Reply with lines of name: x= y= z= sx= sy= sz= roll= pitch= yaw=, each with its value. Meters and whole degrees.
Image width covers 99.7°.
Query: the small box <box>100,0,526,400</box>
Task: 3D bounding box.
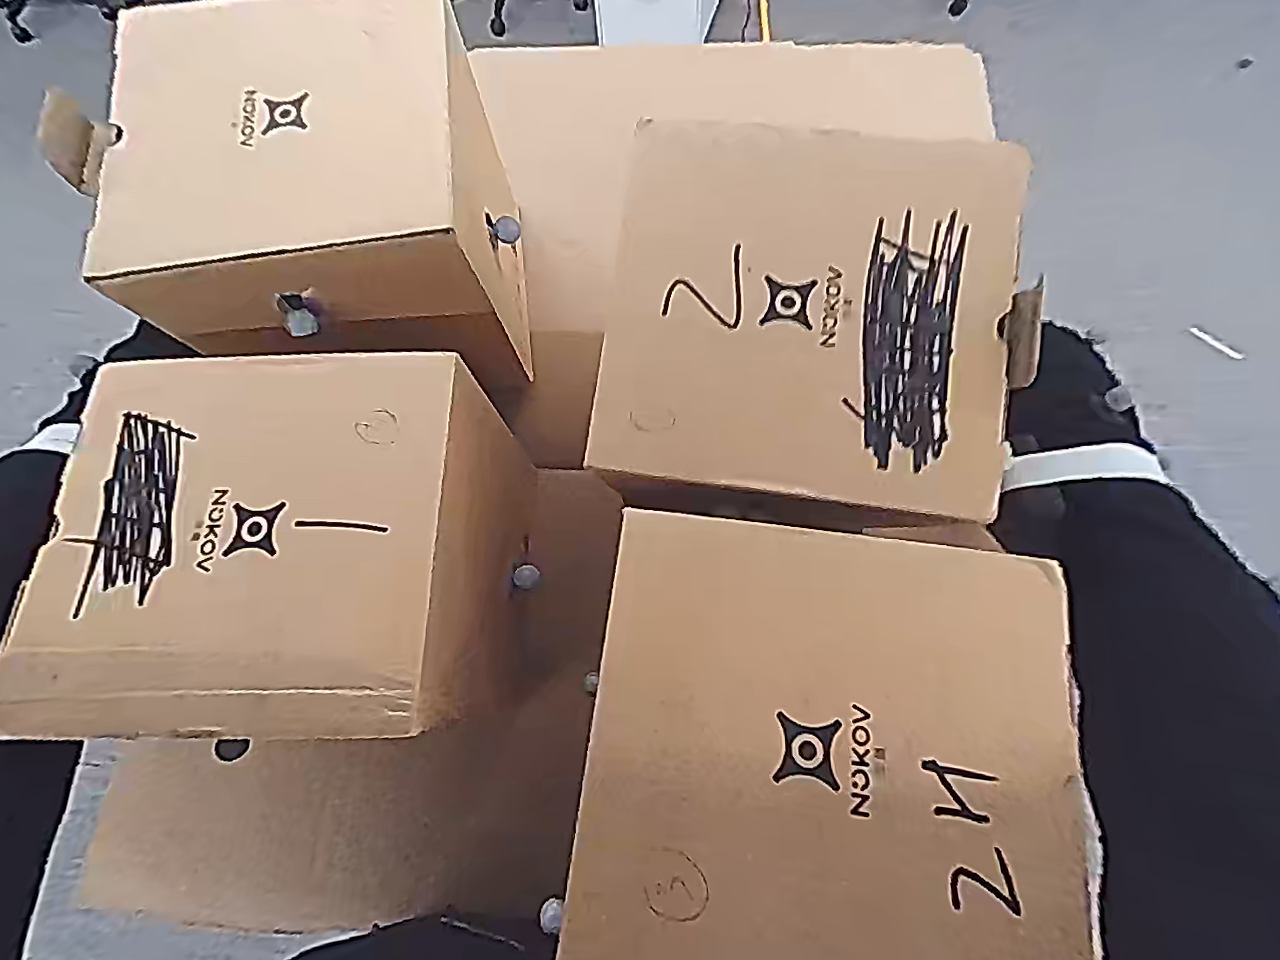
small box: x=-0.178 y=-0.167 z=0.355 sx=0.179 sy=0.176 sz=0.168 roll=-8 pitch=74 yaw=1
